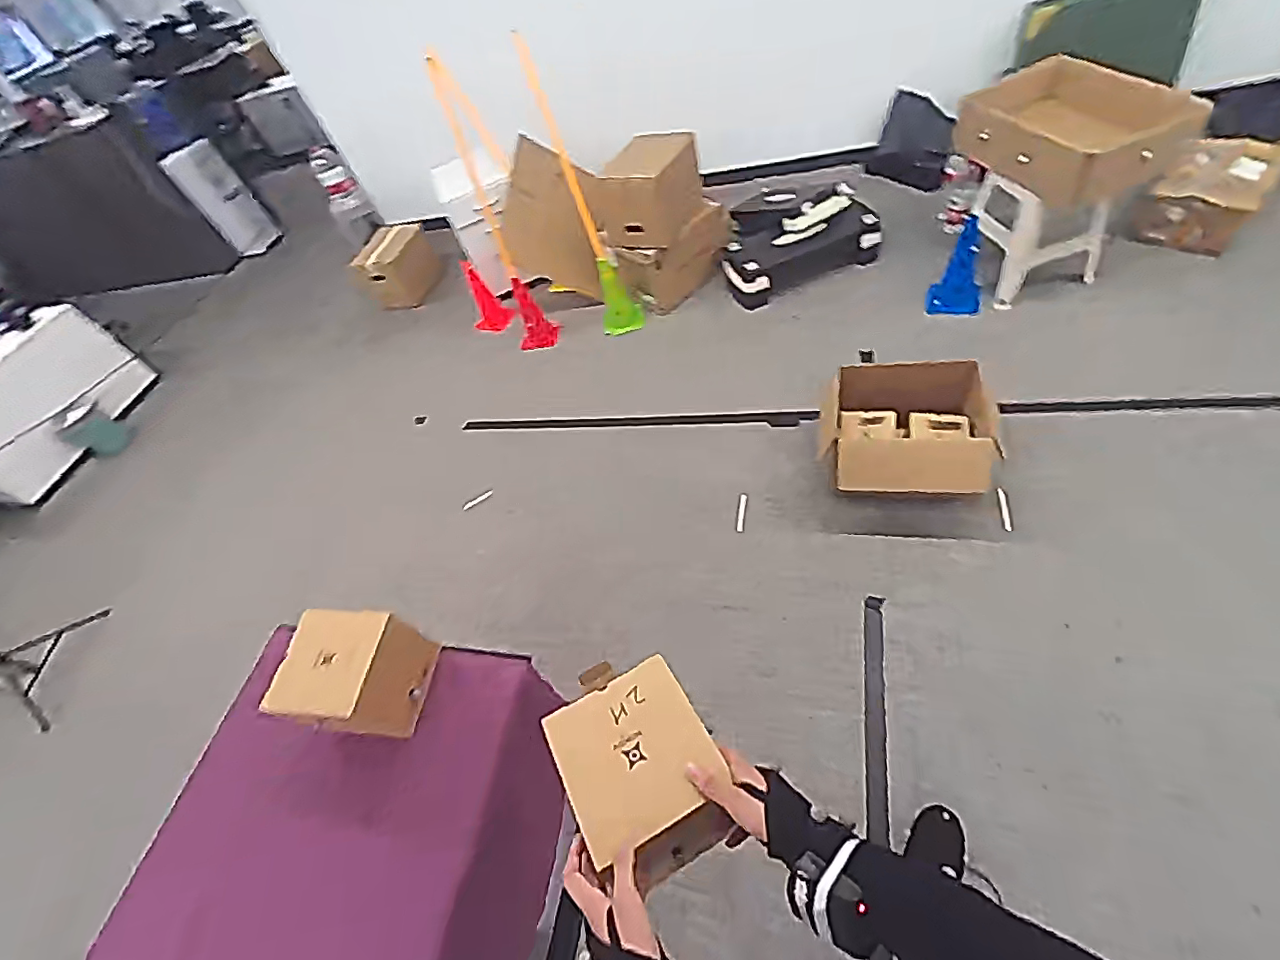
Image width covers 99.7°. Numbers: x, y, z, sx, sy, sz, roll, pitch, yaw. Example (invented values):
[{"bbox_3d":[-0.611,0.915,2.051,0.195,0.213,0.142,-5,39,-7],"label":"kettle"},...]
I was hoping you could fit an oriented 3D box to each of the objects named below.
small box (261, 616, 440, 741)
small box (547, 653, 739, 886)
[{"bbox_3d":[-0.484,0.344,0.932,0.179,0.176,0.168,-4,55,16],"label":"small box"},{"bbox_3d":[0.009,0.354,0.656,0.168,0.176,0.179,-24,43,-13],"label":"small box"}]
